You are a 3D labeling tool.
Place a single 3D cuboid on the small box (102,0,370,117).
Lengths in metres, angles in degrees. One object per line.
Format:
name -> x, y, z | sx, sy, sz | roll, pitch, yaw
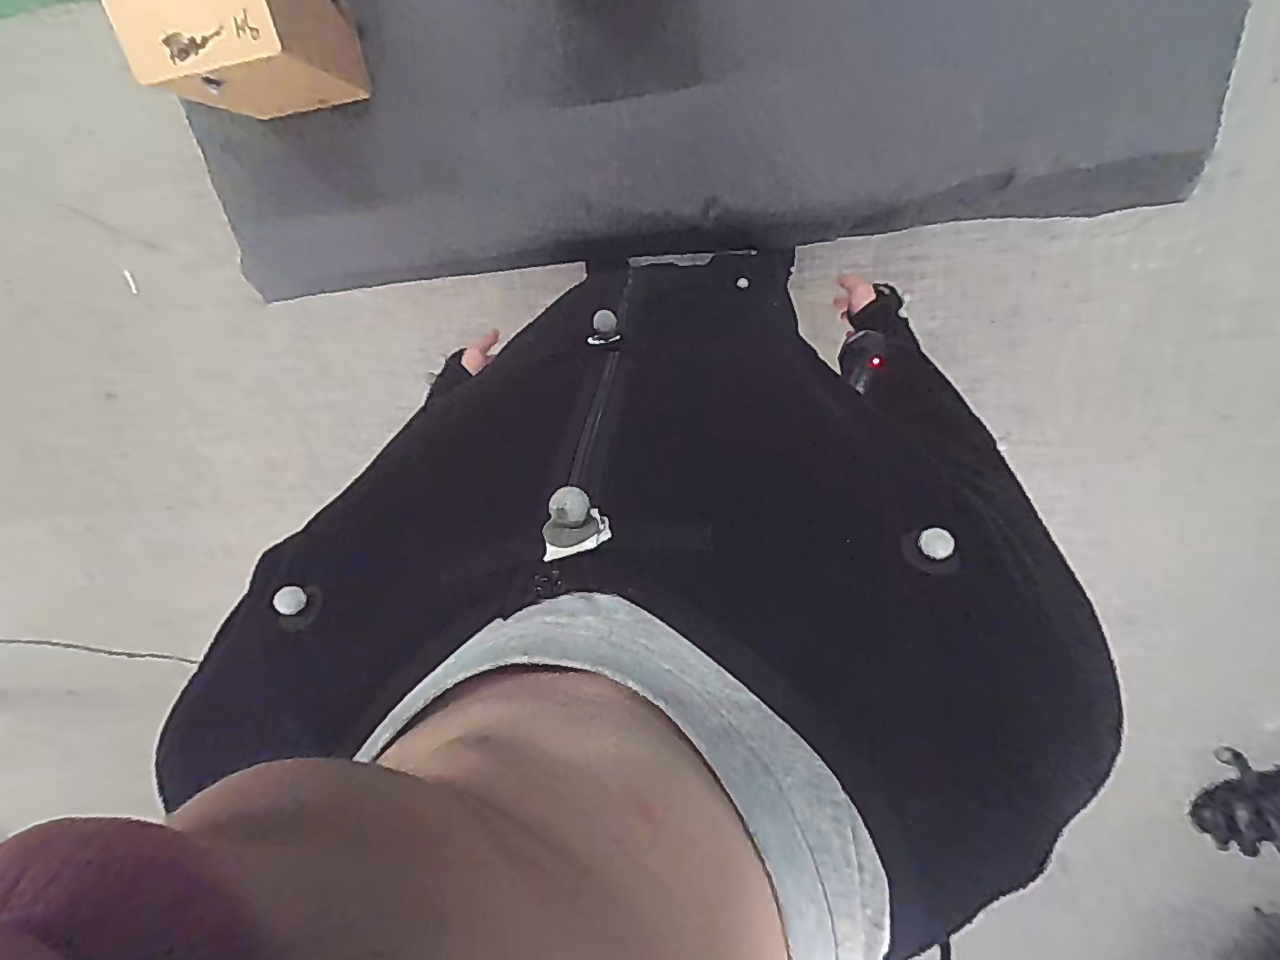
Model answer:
small box -> -0.425, -0.513, 0.569 | 0.168, 0.176, 0.179 | -5, 113, 9
